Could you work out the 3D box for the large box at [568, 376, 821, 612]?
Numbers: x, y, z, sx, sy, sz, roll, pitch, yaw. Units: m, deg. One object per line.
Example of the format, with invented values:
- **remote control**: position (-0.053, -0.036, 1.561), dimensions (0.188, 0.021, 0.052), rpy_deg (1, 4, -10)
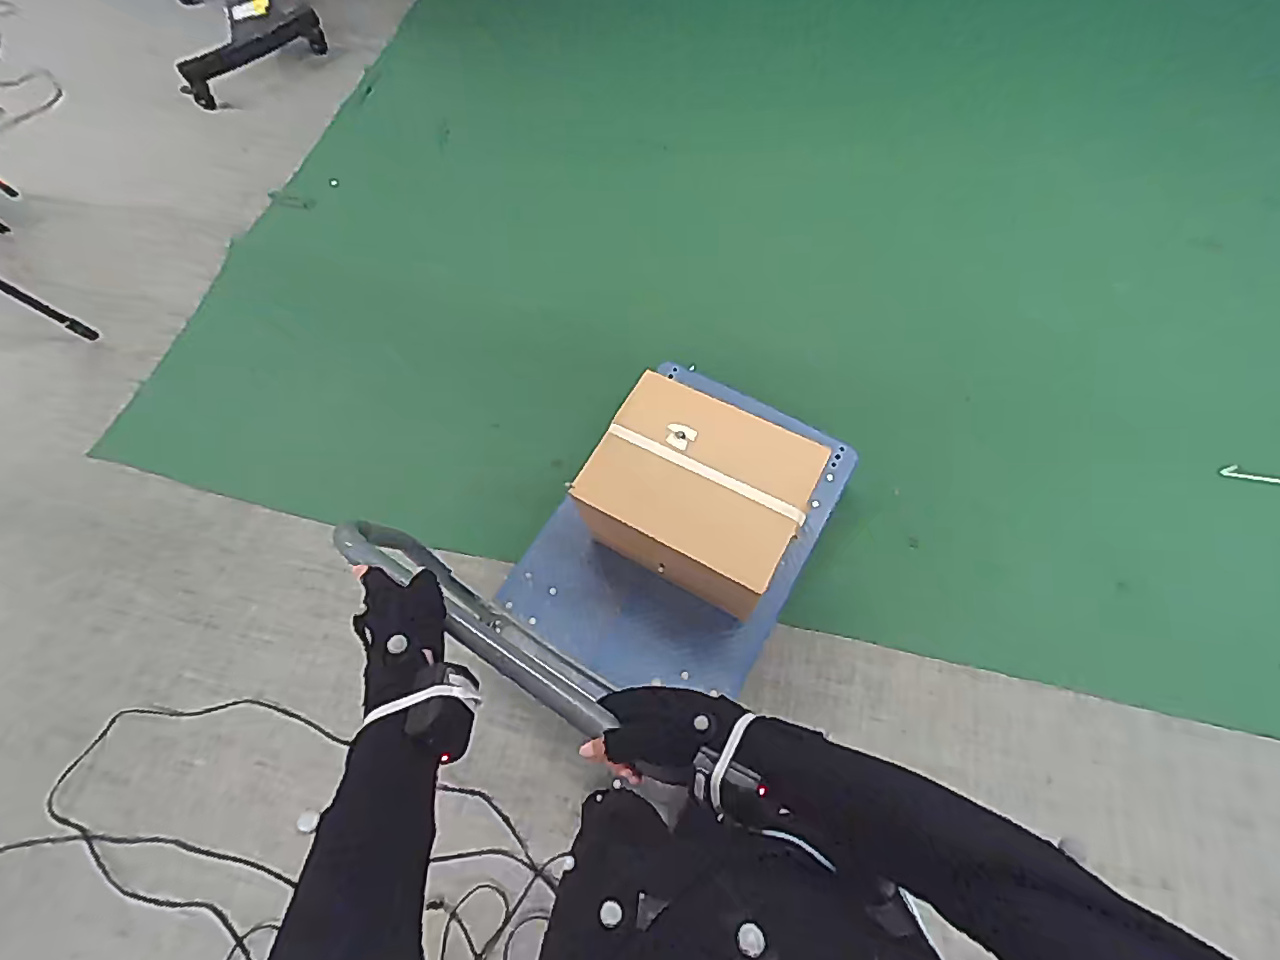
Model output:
- **large box**: position (0.119, 0.042, 1.171), dimensions (0.408, 0.320, 0.320), rpy_deg (26, 71, 15)
